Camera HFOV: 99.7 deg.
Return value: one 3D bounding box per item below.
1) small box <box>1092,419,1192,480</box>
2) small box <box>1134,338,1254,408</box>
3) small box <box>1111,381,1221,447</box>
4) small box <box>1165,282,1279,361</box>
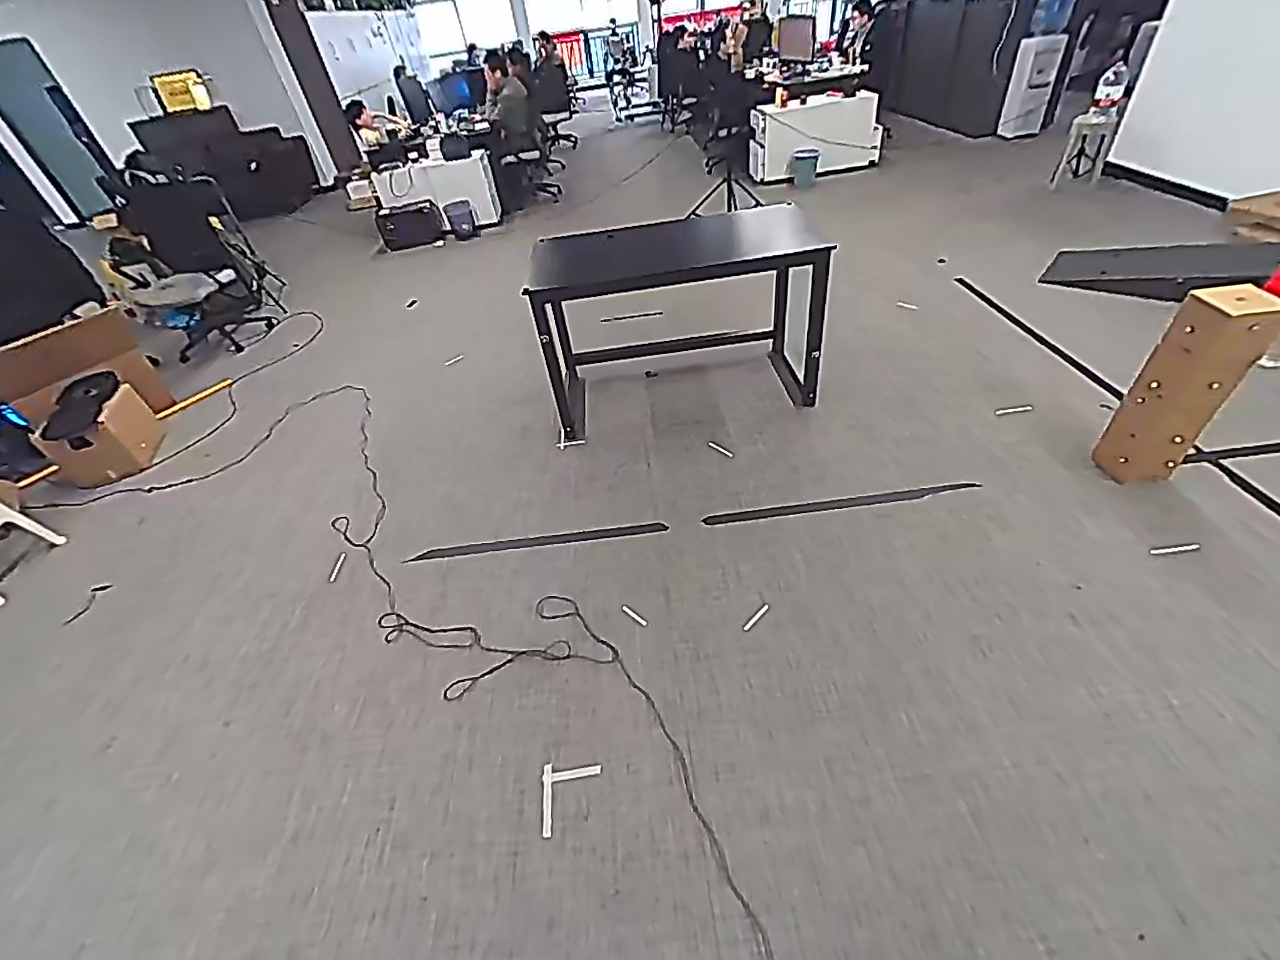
[{"bbox_3d":[1.800,-0.114,1.951,0.168,0.176,0.179,-8,40,1],"label":"small box"},{"bbox_3d":[1.756,-0.351,1.728,0.179,0.176,0.168,-10,42,1],"label":"small box"},{"bbox_3d":[1.777,-0.233,1.841,0.179,0.176,0.168,-9,42,0],"label":"small box"},{"bbox_3d":[1.737,-0.469,1.615,0.179,0.176,0.168,-6,42,3],"label":"small box"}]
